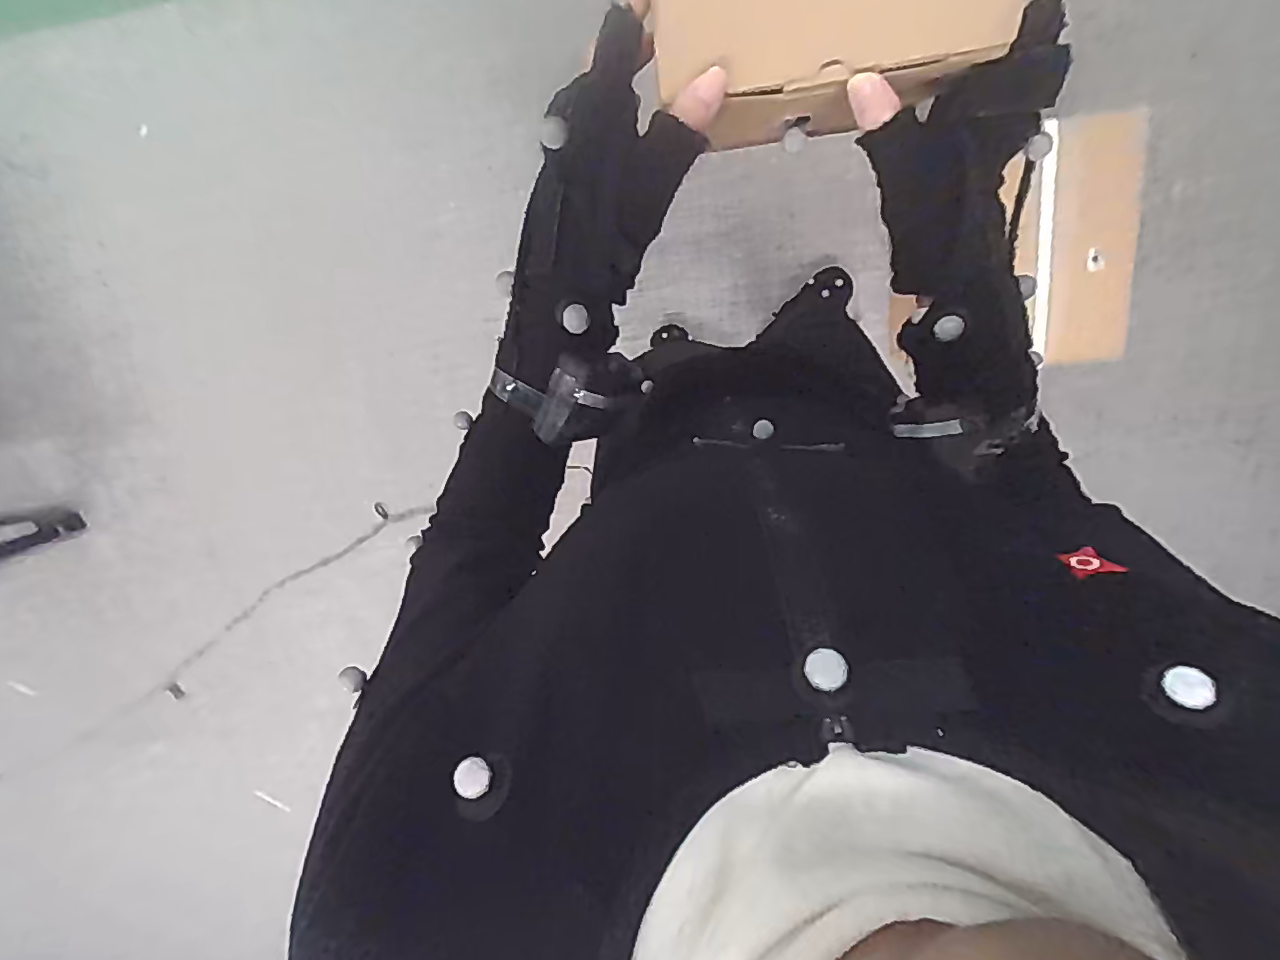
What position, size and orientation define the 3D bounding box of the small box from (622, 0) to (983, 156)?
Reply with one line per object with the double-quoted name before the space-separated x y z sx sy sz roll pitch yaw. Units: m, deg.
"small box" 0.074 -0.296 0.305 0.168 0.176 0.179 -6 114 7
